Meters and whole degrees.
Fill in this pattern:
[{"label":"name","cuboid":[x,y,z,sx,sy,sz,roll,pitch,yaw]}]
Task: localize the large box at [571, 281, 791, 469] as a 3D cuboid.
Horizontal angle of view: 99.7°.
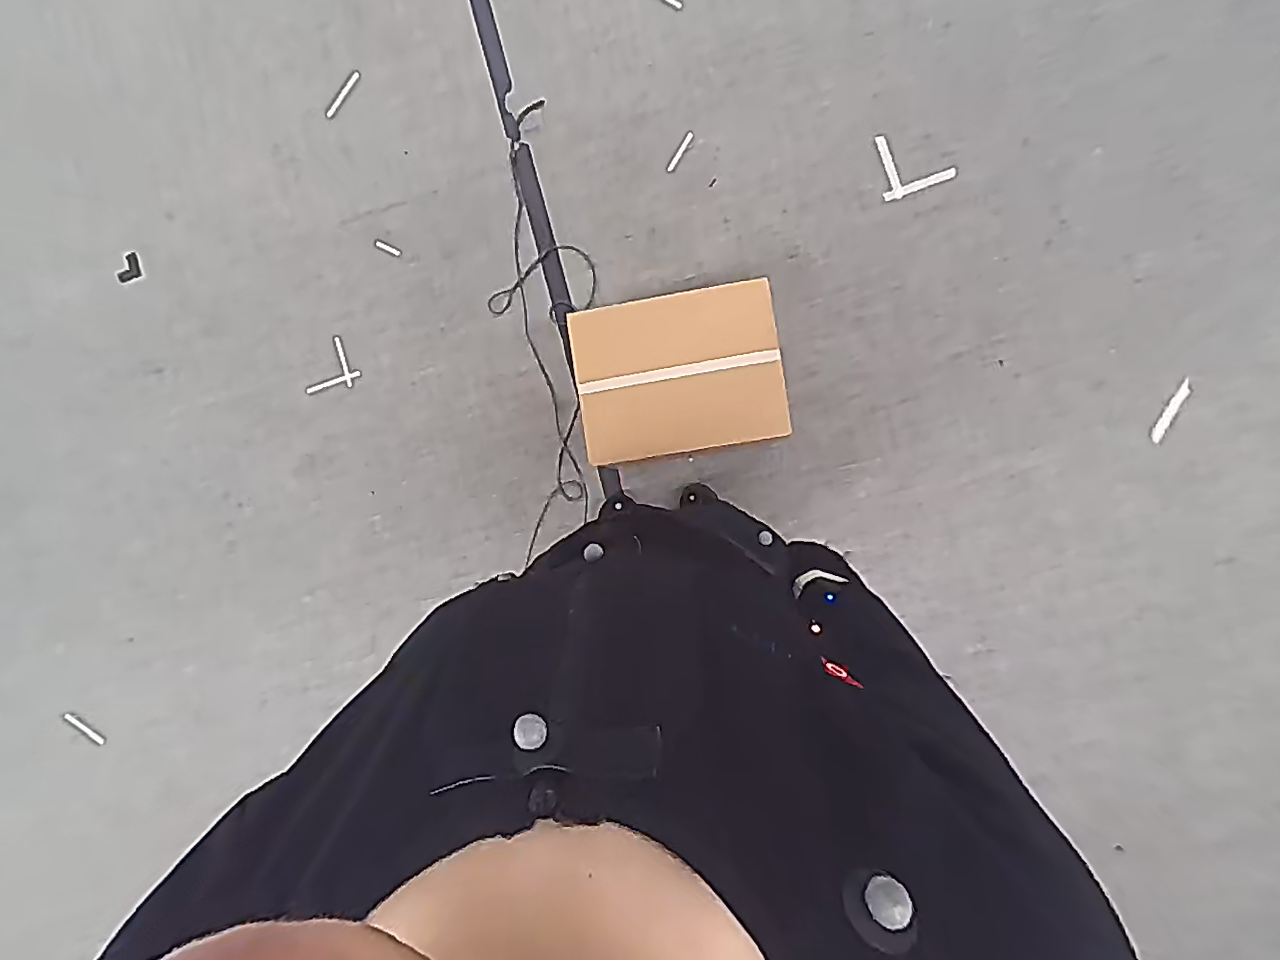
[{"label":"large box","cuboid":[0.089,-0.210,1.225,0.408,0.320,0.320,-9,91,5]}]
